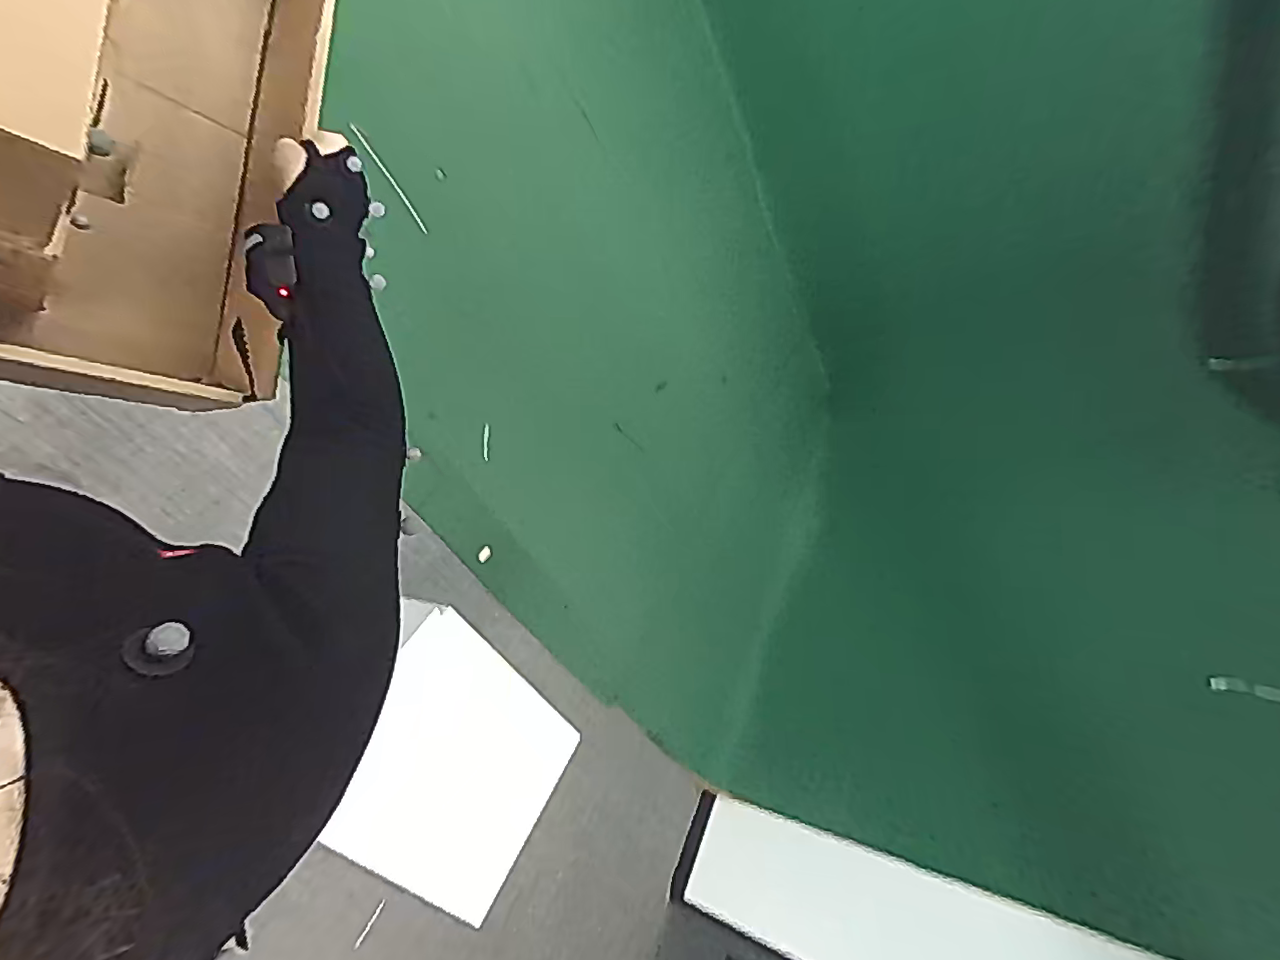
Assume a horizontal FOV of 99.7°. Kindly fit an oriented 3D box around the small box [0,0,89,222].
[{"bbox_3d":[-0.378,-0.243,0.238,0.179,0.176,0.168,8,85,-53],"label":"small box"}]
